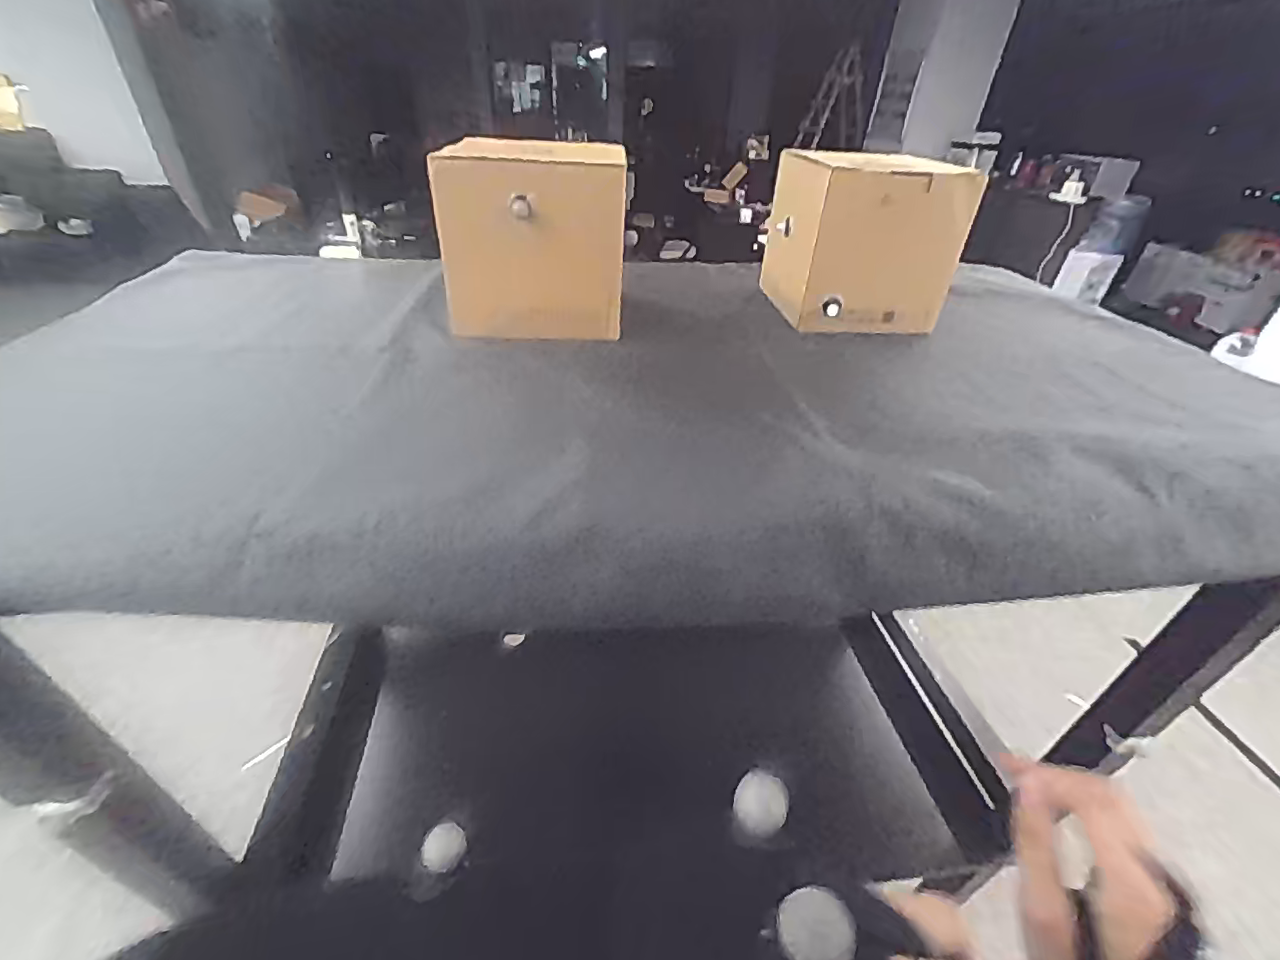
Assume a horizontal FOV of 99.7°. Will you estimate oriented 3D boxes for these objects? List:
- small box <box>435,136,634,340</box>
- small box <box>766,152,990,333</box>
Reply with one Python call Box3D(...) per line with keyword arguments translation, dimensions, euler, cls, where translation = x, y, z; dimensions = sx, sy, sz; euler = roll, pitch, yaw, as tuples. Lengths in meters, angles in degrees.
Box3D(translation=(-0.099, -0.260, 0.585), dimensions=(0.179, 0.176, 0.168), euler=(1, 36, -3), cls="small box")
Box3D(translation=(0.262, -0.284, 0.646), dimensions=(0.168, 0.176, 0.179), euler=(0, 36, -5), cls="small box")
